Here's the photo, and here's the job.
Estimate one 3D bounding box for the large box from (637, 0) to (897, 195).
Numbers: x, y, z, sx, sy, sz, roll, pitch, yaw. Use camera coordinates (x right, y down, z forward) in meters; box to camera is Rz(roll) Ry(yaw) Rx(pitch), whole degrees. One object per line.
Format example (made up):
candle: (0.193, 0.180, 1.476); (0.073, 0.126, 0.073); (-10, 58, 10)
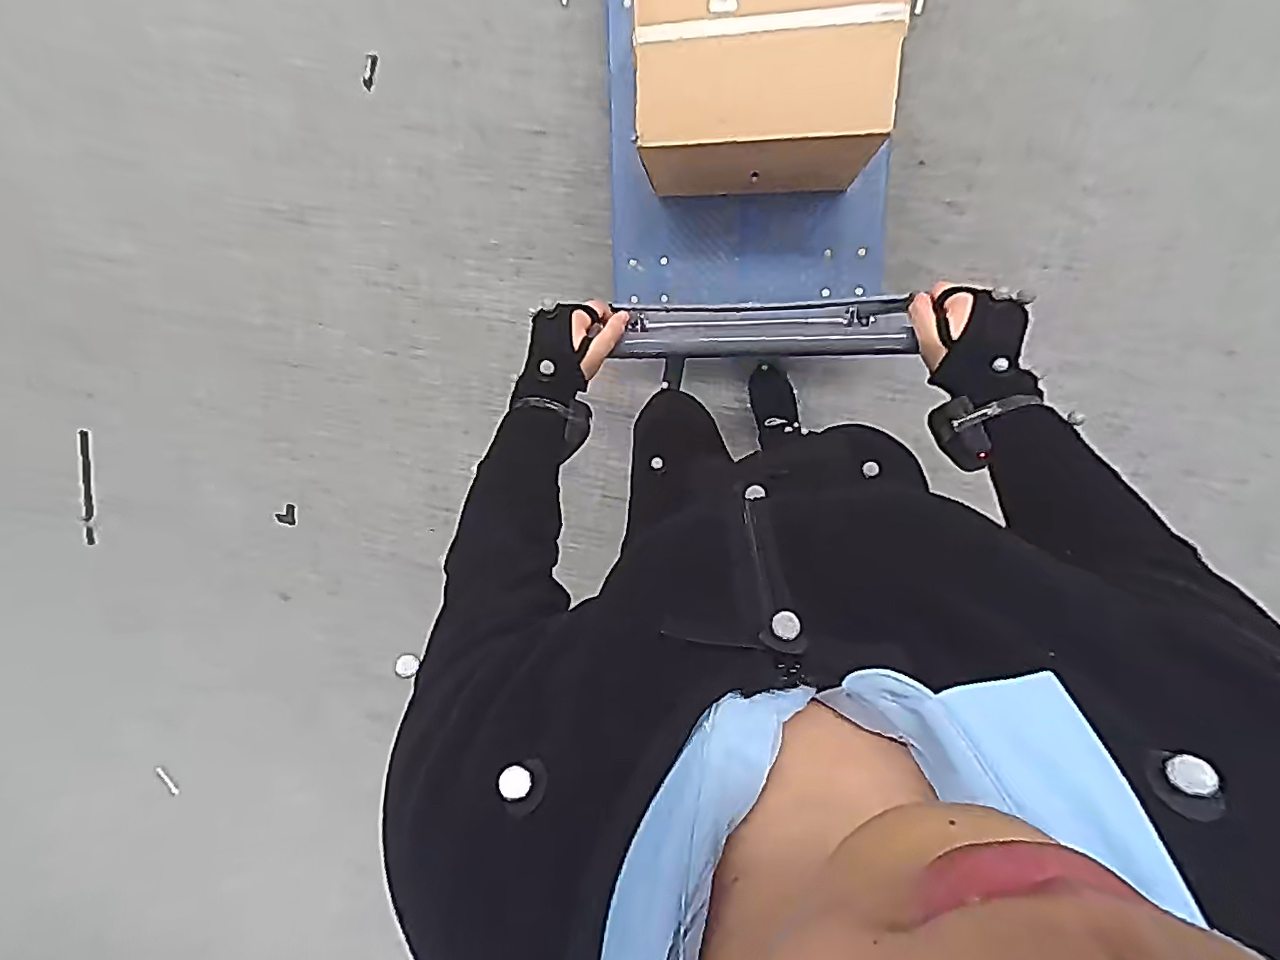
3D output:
large box: (0.216, -0.735, 0.987); (0.408, 0.320, 0.320); (2, 102, 9)
